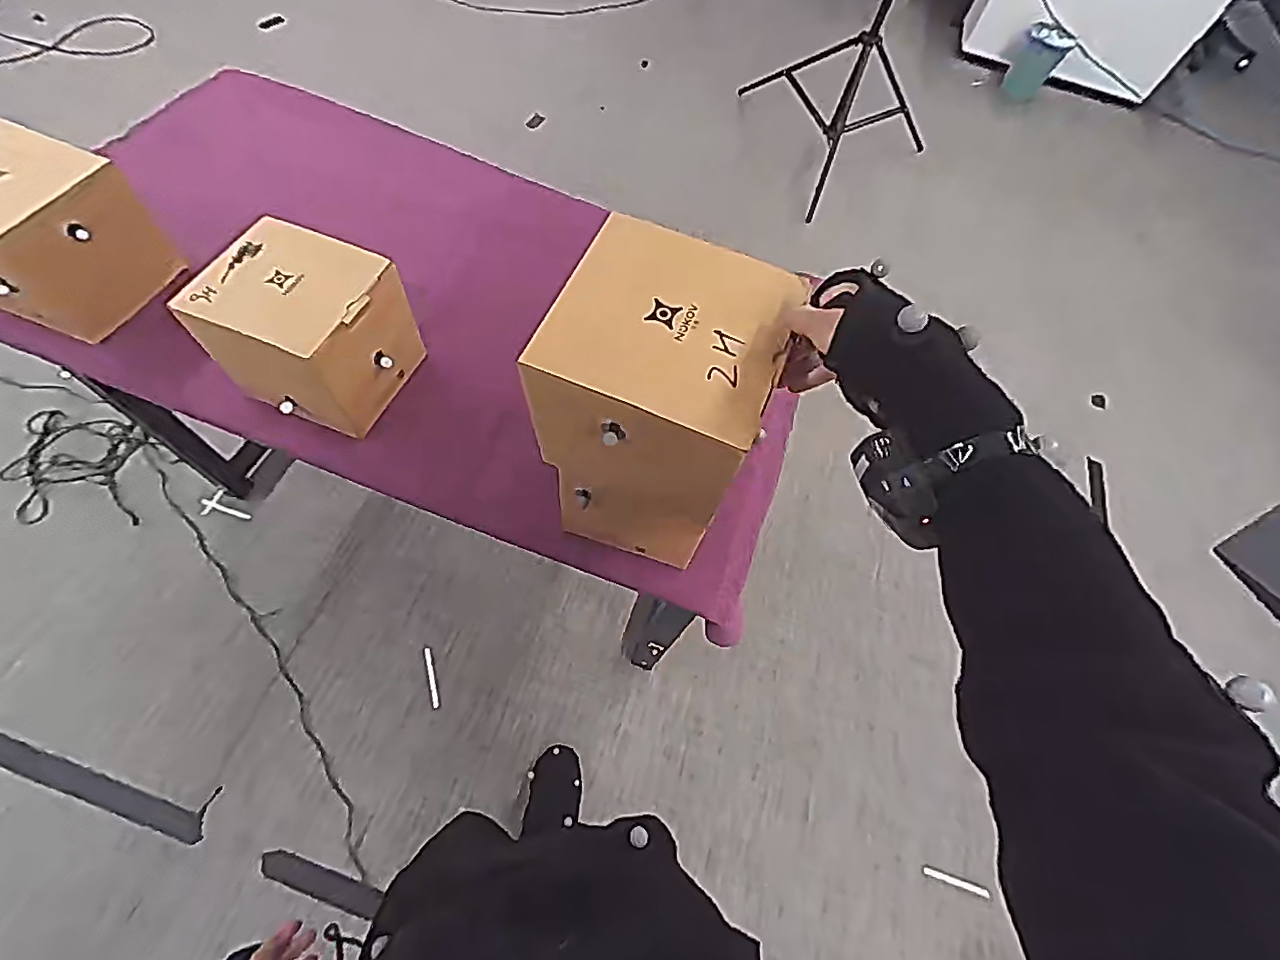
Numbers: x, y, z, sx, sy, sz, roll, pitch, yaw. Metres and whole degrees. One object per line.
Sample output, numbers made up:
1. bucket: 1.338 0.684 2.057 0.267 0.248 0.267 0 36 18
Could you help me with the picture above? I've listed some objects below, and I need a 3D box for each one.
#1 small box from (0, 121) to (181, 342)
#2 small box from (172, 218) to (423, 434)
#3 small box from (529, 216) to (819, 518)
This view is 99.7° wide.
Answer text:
1. small box: -0.761 -0.311 0.697 0.168 0.176 0.179 21 61 2
2. small box: -0.402 -0.181 0.678 0.179 0.176 0.168 21 63 3
3. small box: 0.026 -0.086 0.474 0.179 0.176 0.168 22 68 6
